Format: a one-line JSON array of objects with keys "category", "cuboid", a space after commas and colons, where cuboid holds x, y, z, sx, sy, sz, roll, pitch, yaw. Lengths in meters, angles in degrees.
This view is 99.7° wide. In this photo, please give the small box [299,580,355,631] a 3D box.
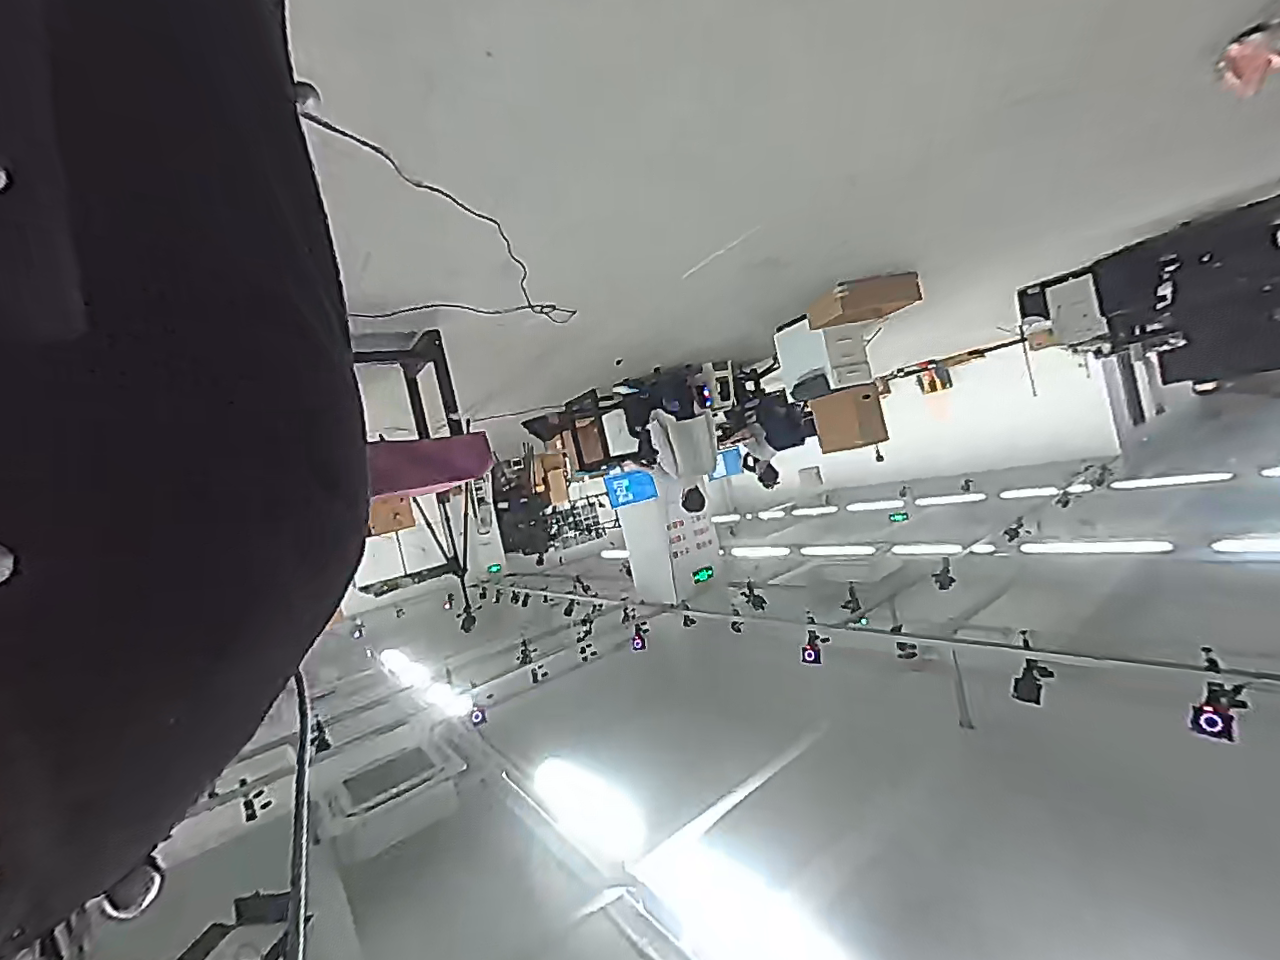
[{"category": "small box", "cuboid": [-1.375, 0.545, 2.369, 0.179, 0.176, 0.168, -14, -177, -37]}]

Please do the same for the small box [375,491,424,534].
[{"category": "small box", "cuboid": [-1.159, 0.153, 2.597, 0.168, 0.176, 0.179, -13, -178, -36]}]
